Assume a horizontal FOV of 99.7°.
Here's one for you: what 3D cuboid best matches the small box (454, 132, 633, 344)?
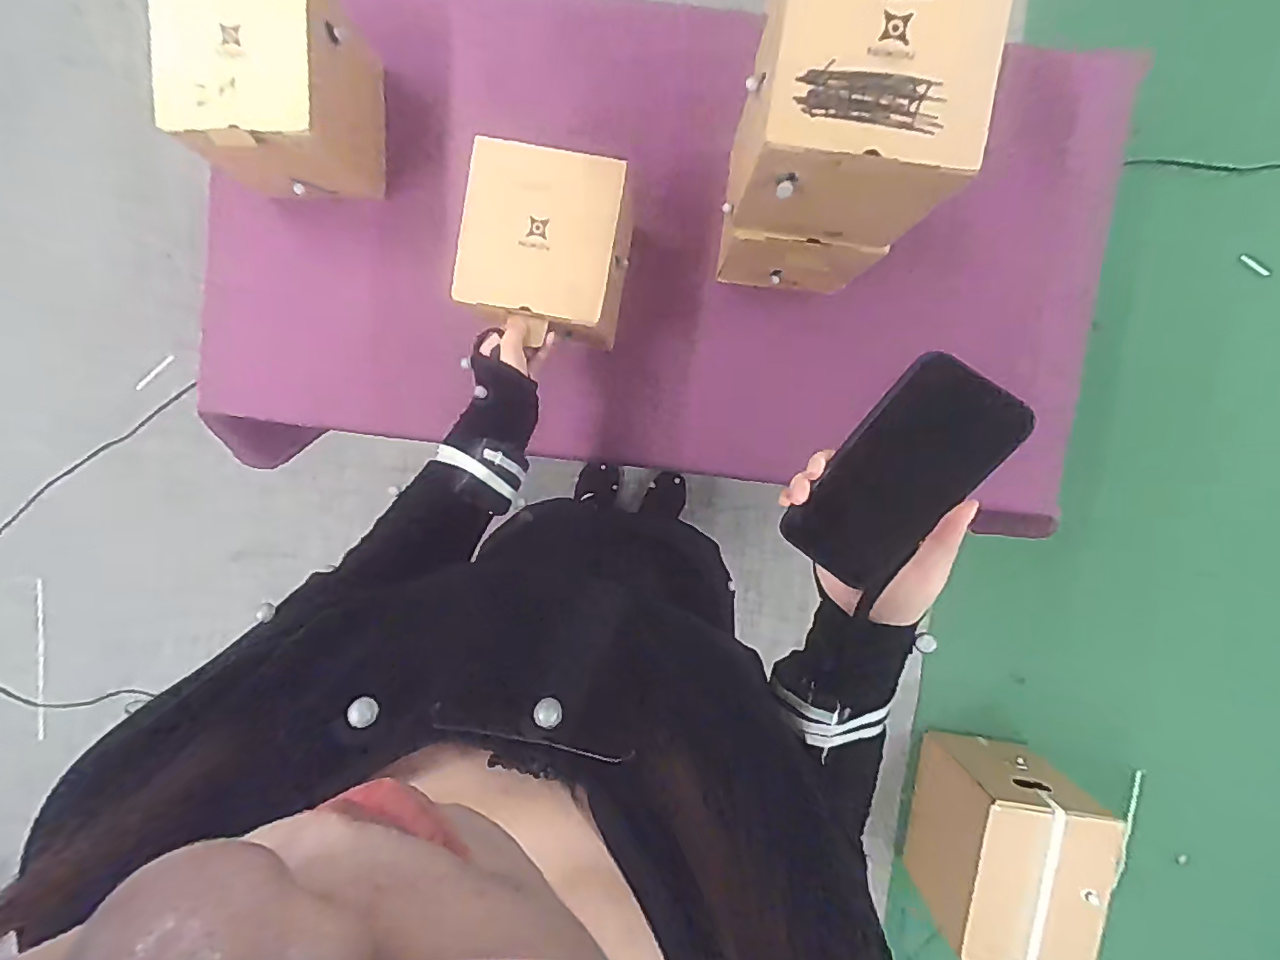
[{"bbox_3d":[-0.103,-0.273,0.654,0.168,0.176,0.179,11,95,1],"label":"small box"}]

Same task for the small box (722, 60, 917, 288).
[{"bbox_3d":[0.196,-0.345,0.642,0.168,0.176,0.179,6,97,1],"label":"small box"}]

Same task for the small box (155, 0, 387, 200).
[{"bbox_3d":[-0.420,-0.462,0.642,0.168,0.176,0.179,2,96,1],"label":"small box"}]
